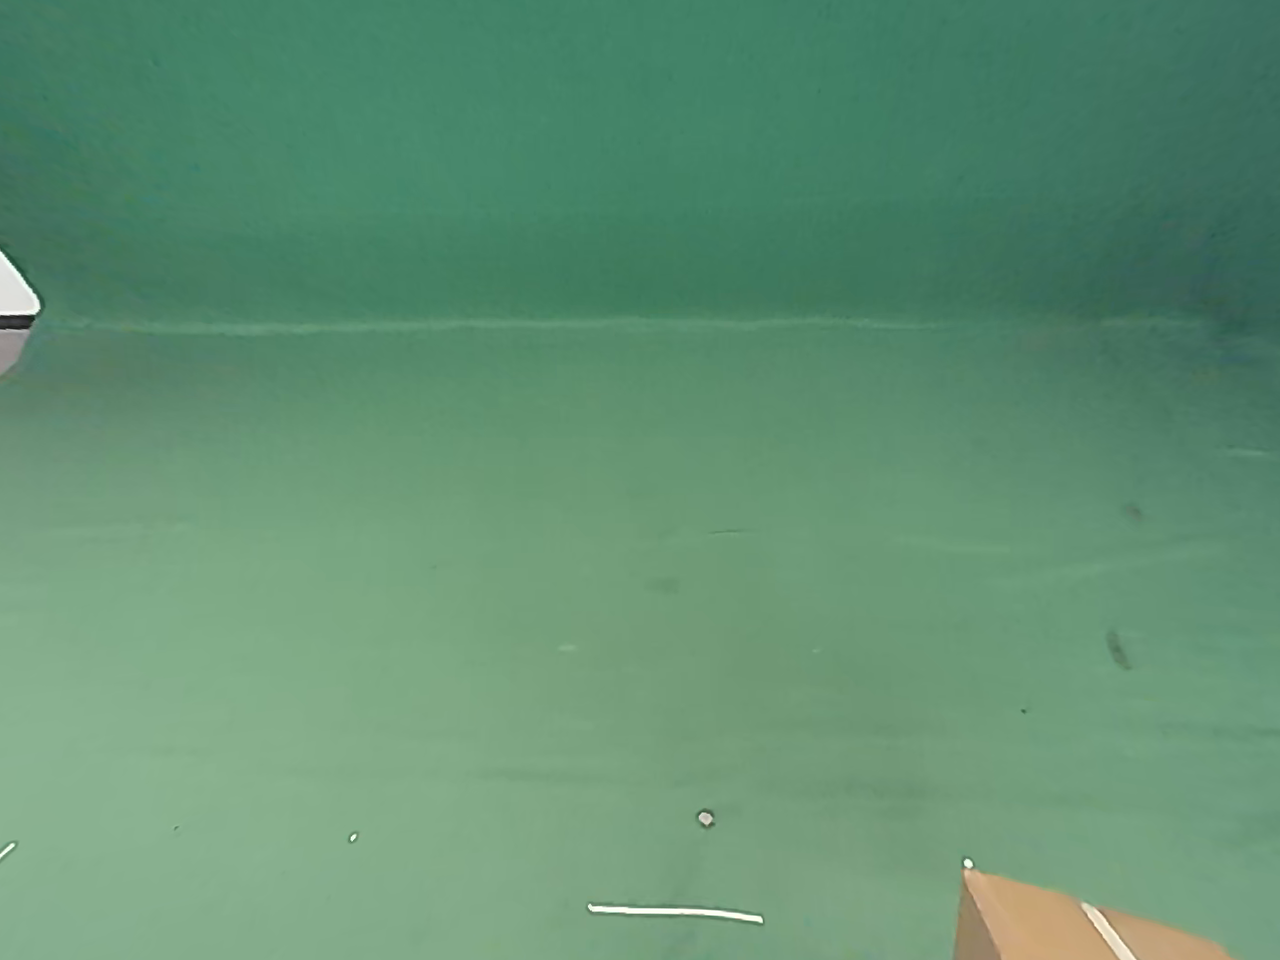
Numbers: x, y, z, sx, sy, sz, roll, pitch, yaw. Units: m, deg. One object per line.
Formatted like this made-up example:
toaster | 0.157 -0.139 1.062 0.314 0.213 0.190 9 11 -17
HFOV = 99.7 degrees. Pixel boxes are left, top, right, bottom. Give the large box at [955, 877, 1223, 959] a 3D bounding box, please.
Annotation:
large box | 0.552 0.741 0.571 0.320 0.408 0.320 8 86 17
